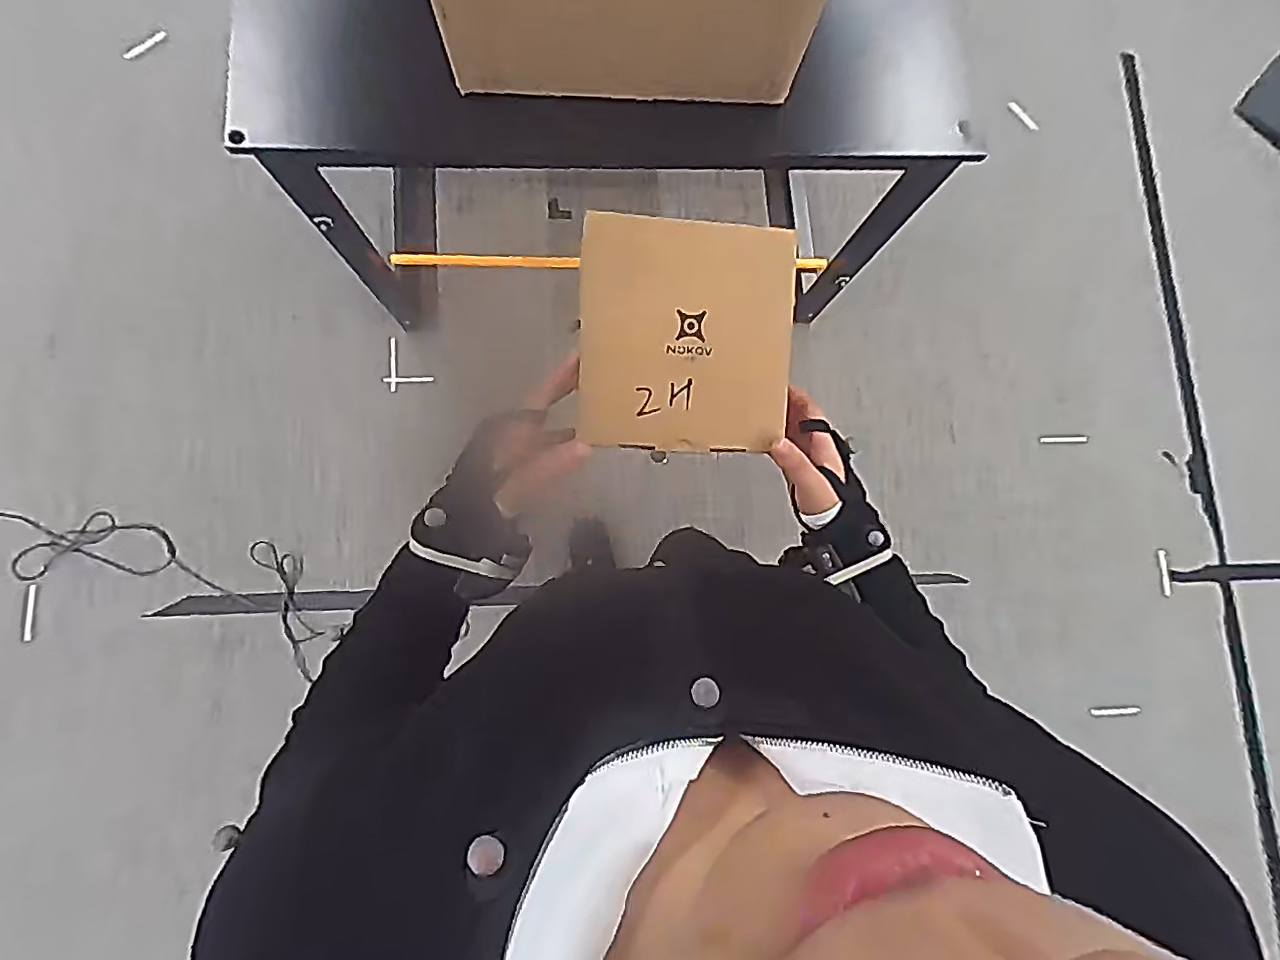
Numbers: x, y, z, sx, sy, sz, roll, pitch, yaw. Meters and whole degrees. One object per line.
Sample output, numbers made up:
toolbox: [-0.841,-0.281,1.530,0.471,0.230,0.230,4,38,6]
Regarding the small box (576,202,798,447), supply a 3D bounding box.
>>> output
small box: [0.028,-0.122,0.493,0.168,0.176,0.179,2,95,-7]
